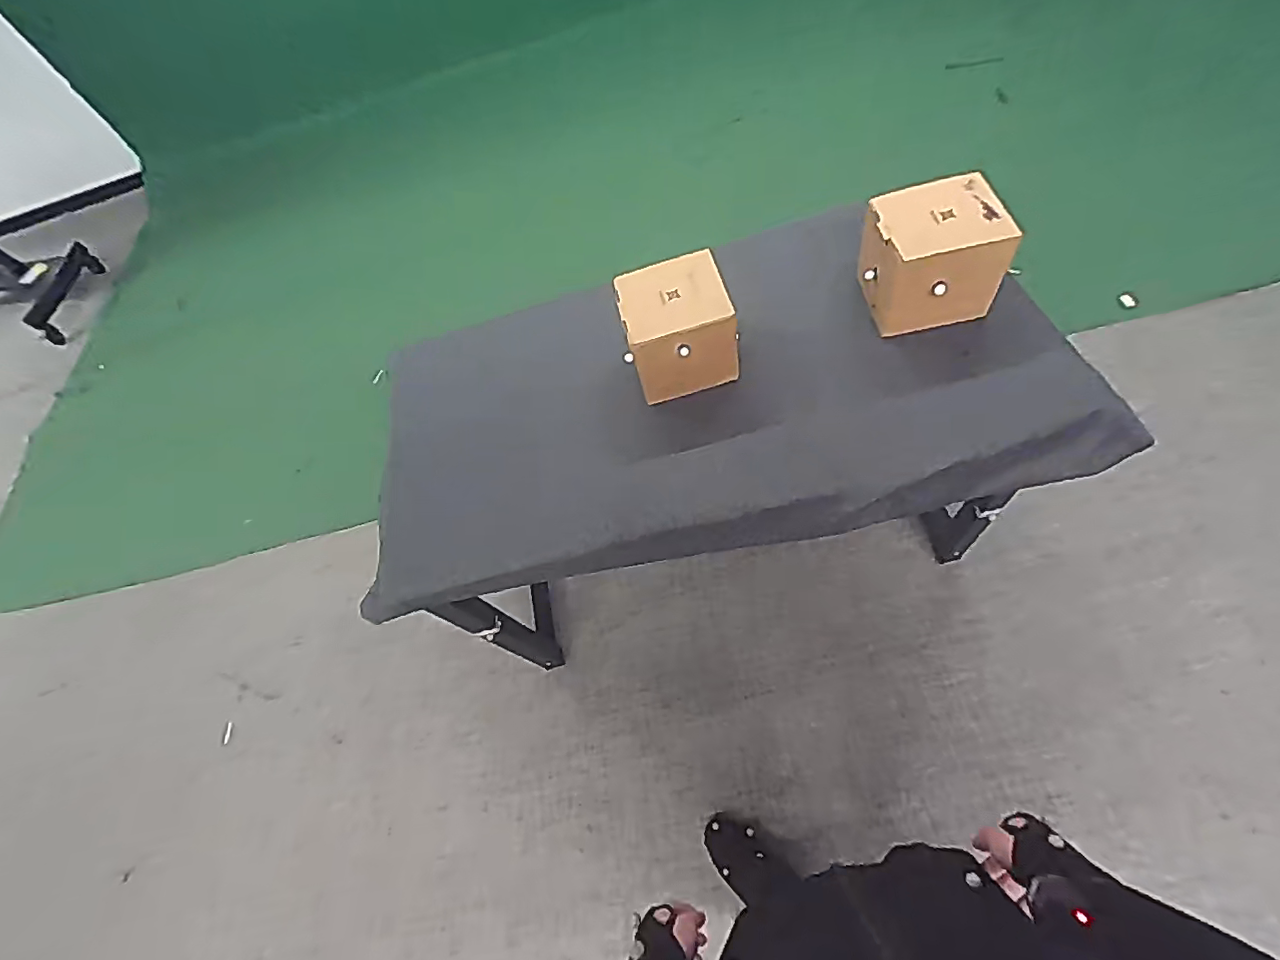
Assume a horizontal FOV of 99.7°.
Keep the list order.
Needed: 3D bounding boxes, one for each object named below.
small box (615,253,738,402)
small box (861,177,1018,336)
[{"bbox_3d":[0.069,-0.263,0.965,0.179,0.176,0.168,-15,61,3],"label":"small box"},{"bbox_3d":[0.490,-0.371,0.922,0.179,0.176,0.168,-11,61,8],"label":"small box"}]
